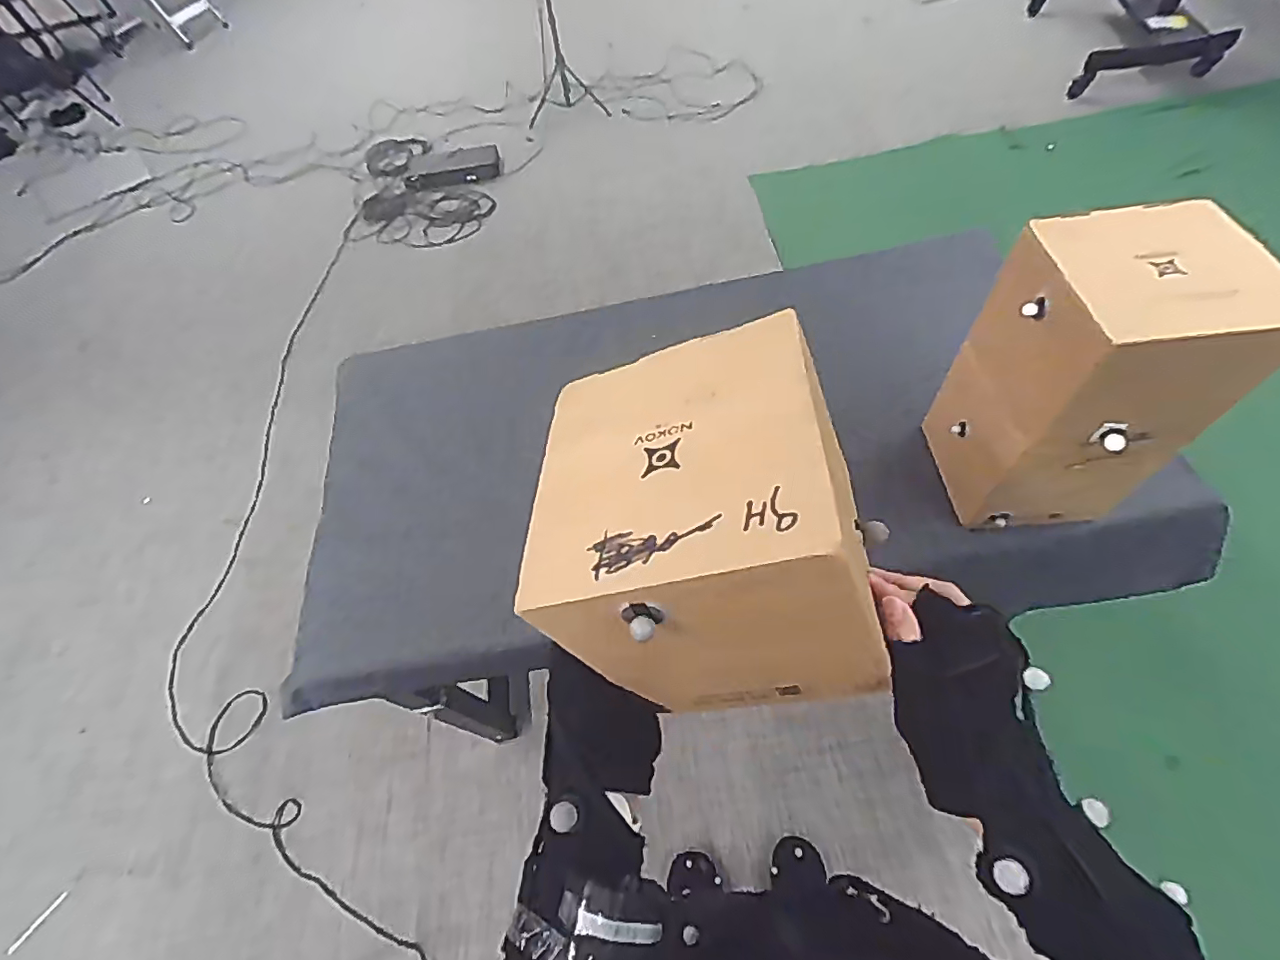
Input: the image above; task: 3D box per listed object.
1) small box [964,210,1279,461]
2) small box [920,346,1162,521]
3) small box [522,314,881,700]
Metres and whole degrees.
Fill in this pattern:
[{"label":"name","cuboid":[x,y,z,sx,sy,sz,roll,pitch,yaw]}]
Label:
[{"label":"small box","cuboid":[0.467,-0.140,0.553,0.168,0.176,0.179,-5,58,6]},{"label":"small box","cuboid":[0.487,-0.057,0.690,0.168,0.176,0.179,-5,56,5]},{"label":"small box","cuboid":[0.051,0.028,0.364,0.168,0.176,0.179,-14,46,23]}]
